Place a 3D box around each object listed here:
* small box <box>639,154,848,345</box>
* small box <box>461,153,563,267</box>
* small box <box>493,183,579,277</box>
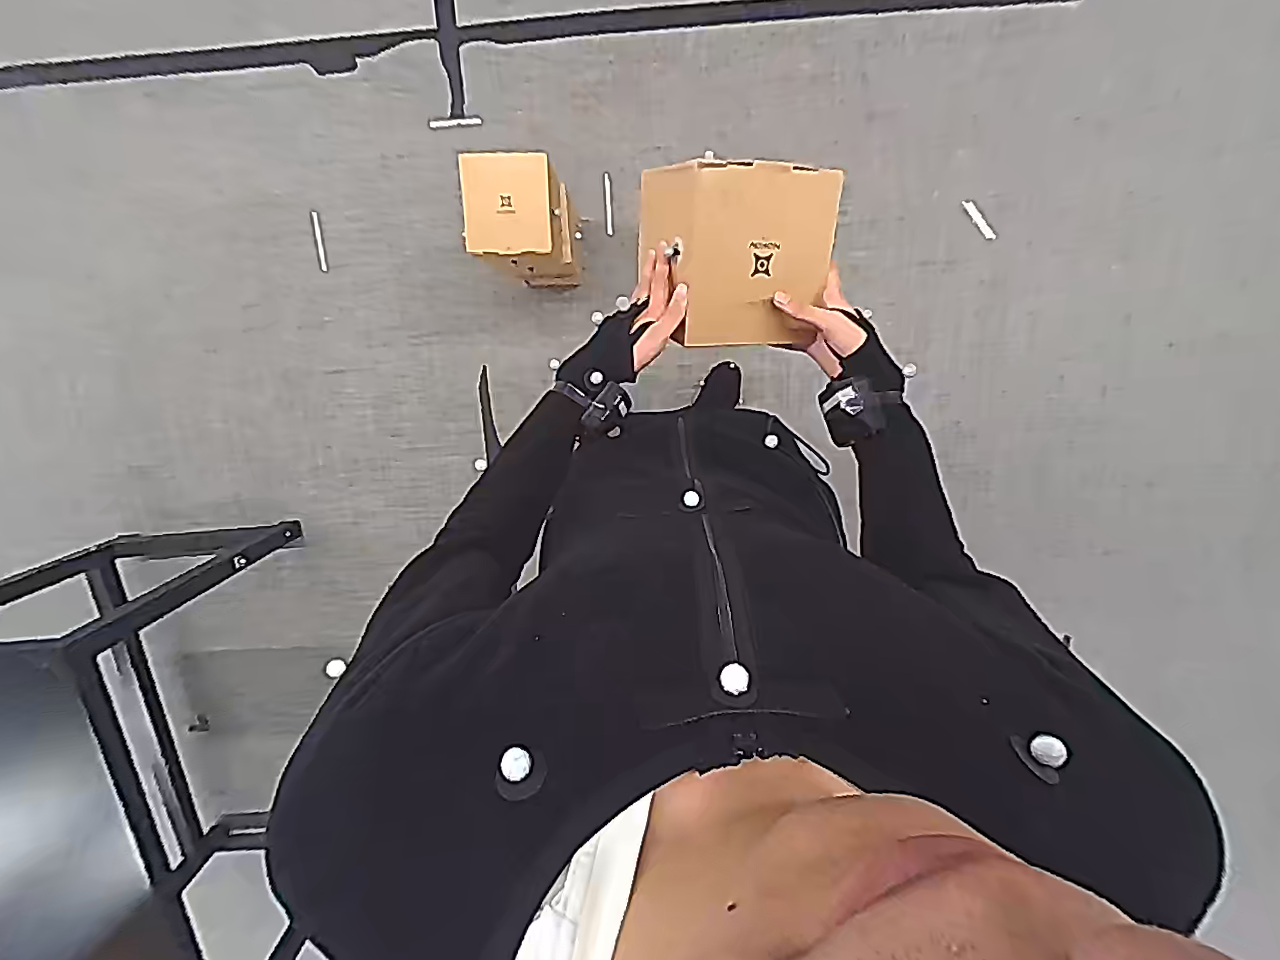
[{"bbox_3d":[0.103,-0.259,0.620,0.168,0.176,0.179,-6,117,-17],"label":"small box"},{"bbox_3d":[-0.250,-0.534,1.088,0.168,0.176,0.179,-1,105,0],"label":"small box"},{"bbox_3d":[-0.241,-0.568,1.248,0.179,0.176,0.168,-3,104,0],"label":"small box"}]
